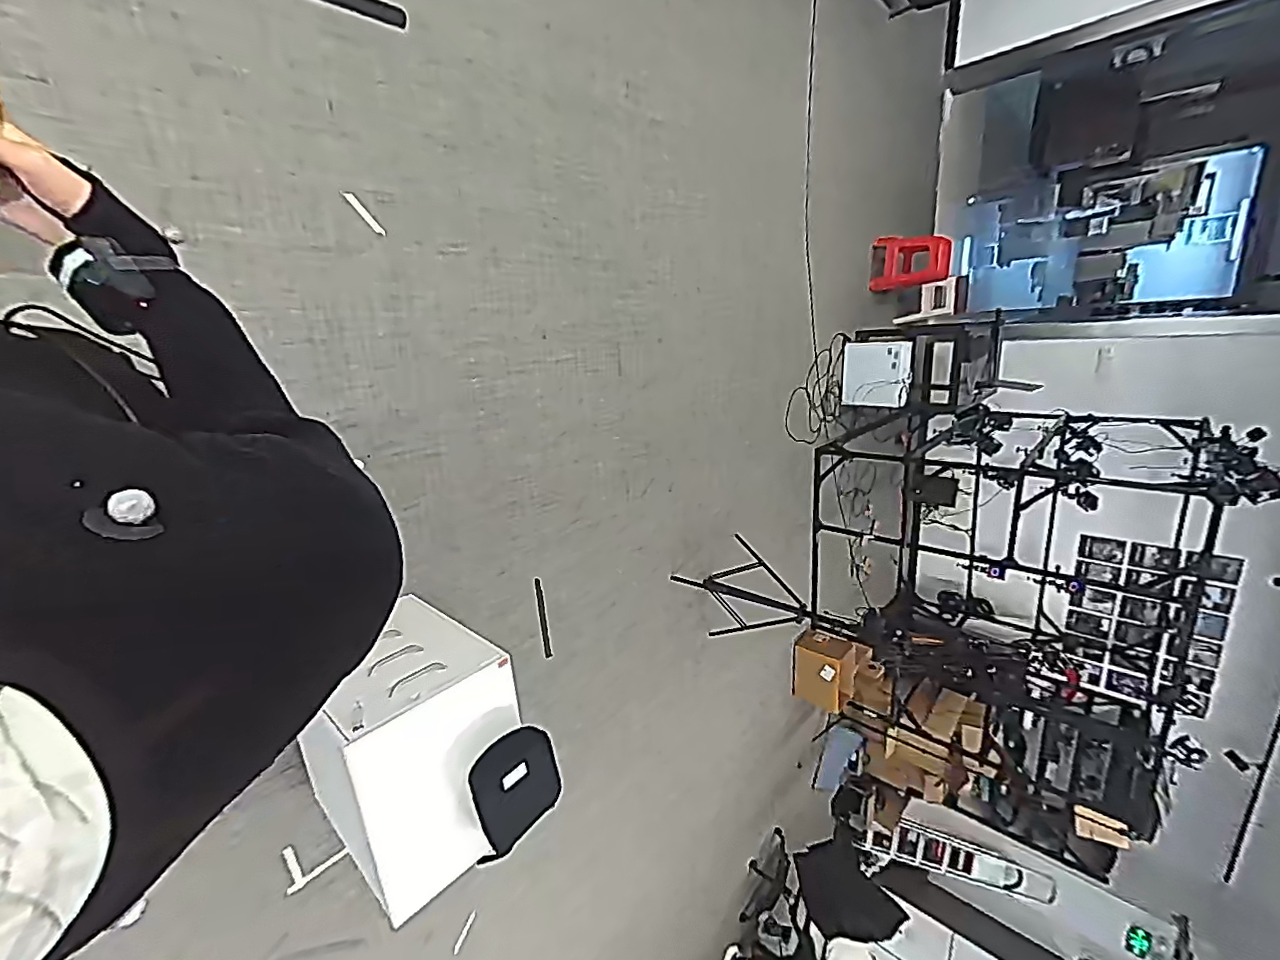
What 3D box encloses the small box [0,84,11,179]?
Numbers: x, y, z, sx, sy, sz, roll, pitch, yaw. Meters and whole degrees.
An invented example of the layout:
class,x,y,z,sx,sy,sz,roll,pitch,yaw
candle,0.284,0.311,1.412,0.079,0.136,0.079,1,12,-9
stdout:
class,x,y,z,sx,sy,sz,roll,pitch,yaw
small box,-0.584,-0.305,0.350,0.168,0.176,0.179,-16,102,-74
